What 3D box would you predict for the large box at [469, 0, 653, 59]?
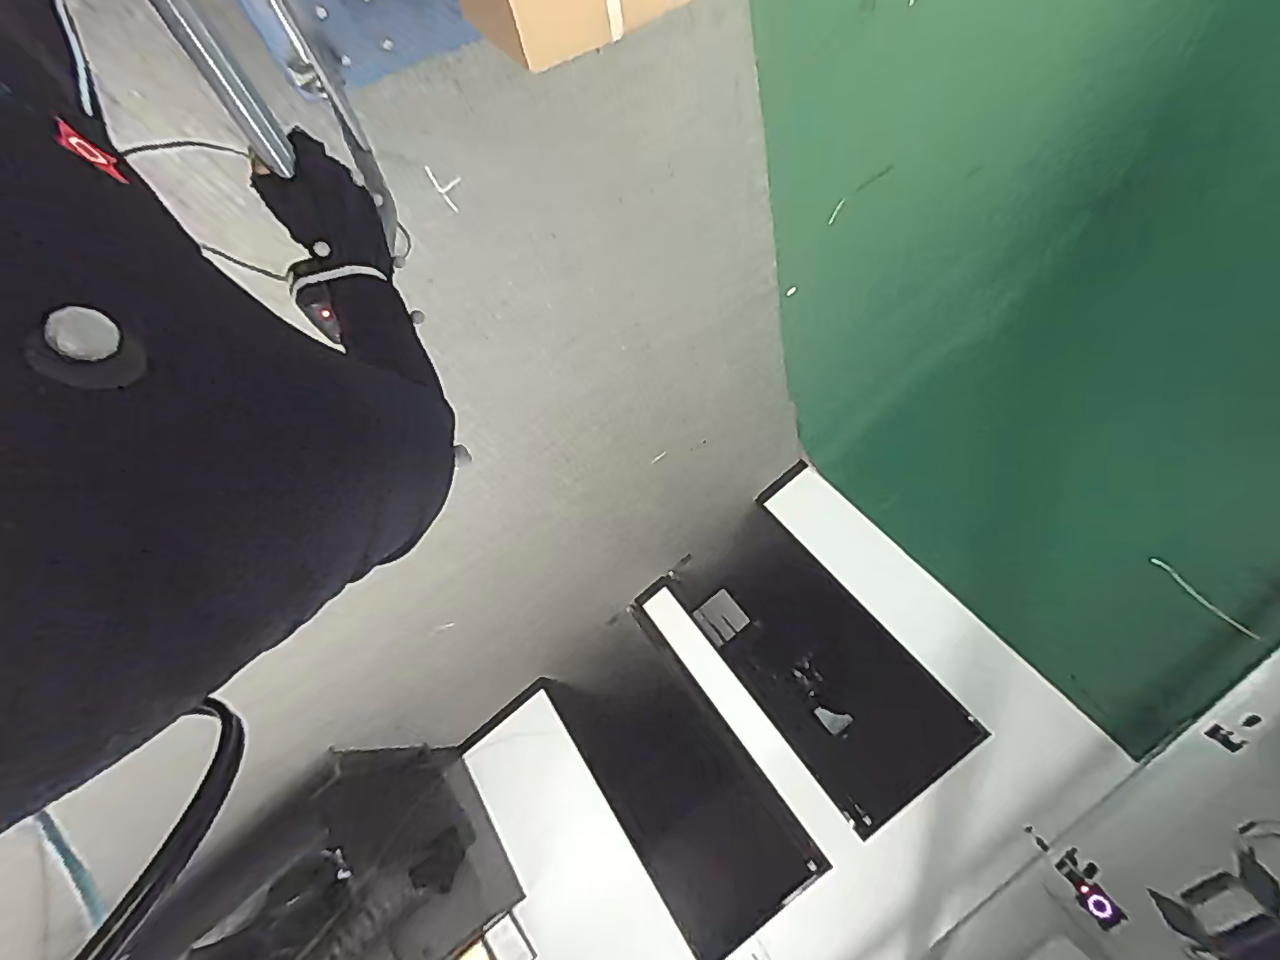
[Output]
[{"bbox_3d":[-0.153,-0.942,0.779,0.320,0.320,0.408,-31,149,-6],"label":"large box"}]
